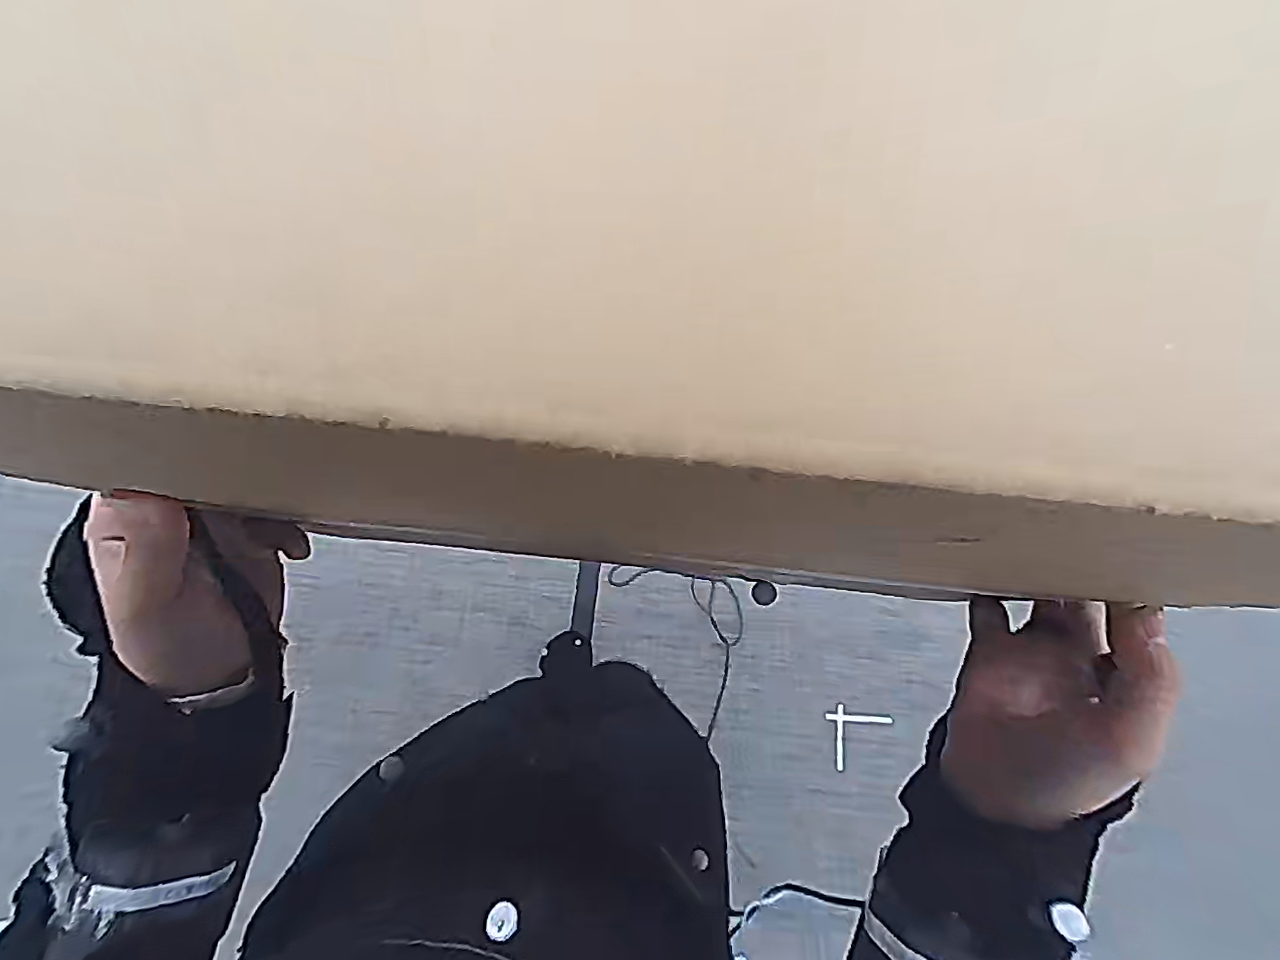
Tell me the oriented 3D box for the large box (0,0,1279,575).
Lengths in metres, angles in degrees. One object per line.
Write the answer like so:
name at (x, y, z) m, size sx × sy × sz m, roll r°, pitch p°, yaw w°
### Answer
large box at (0.016, -0.135, 0.267) m, size 0.408 × 0.320 × 0.320 m, roll 6°, pitch 78°, yaw -1°
